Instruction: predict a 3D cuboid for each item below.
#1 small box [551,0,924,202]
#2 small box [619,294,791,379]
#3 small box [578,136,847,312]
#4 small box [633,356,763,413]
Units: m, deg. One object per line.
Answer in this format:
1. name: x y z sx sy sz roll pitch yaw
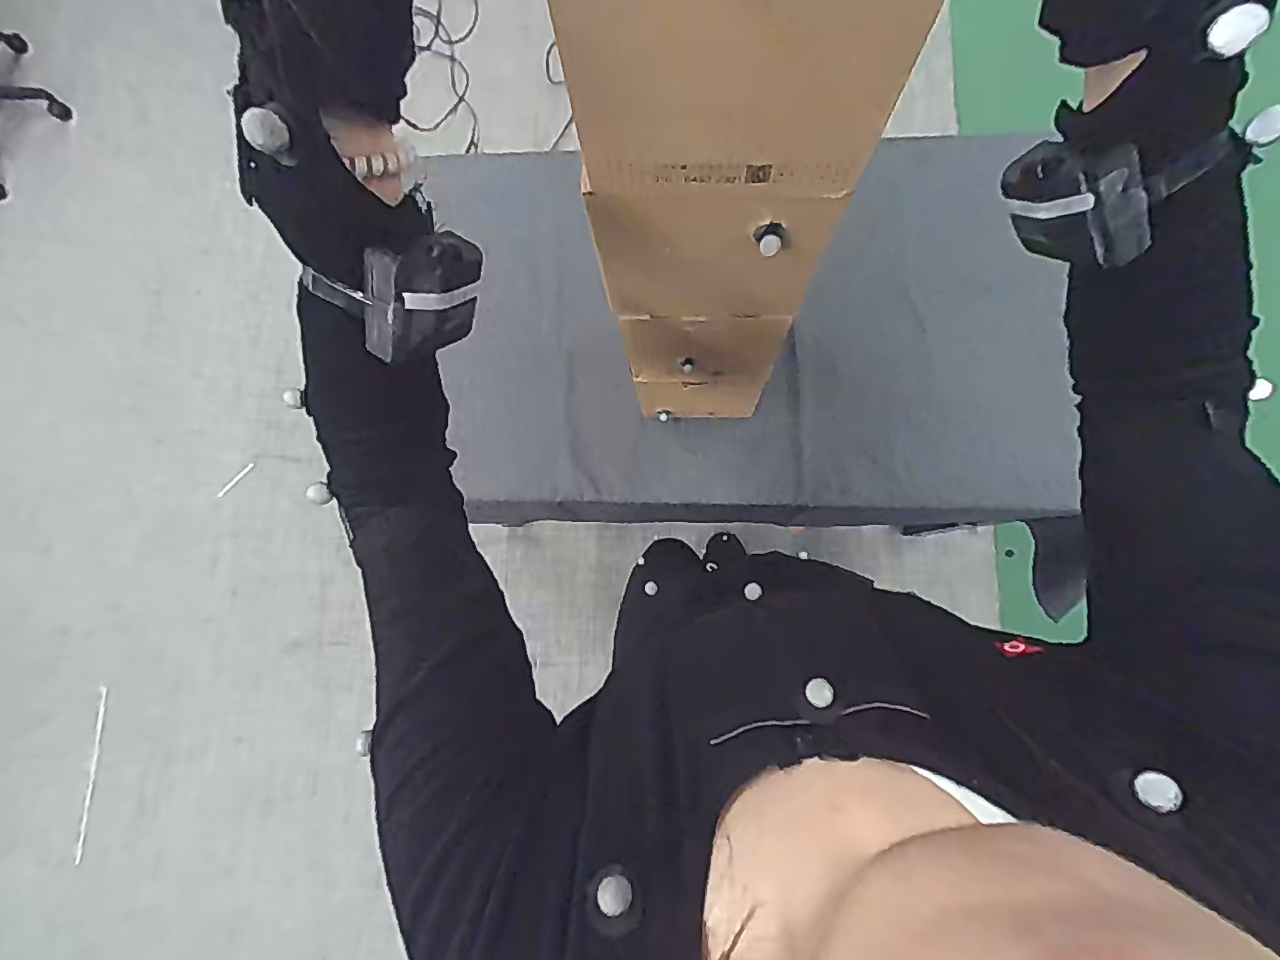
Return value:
1. small box: 0.046 -0.279 0.280 0.168 0.176 0.179 3 80 5
2. small box: 0.069 -0.225 0.603 0.168 0.176 0.179 1 81 5
3. small box: 0.055 -0.251 0.441 0.179 0.176 0.168 2 80 5
4. small box: 0.083 -0.198 0.762 0.168 0.176 0.179 0 79 5
